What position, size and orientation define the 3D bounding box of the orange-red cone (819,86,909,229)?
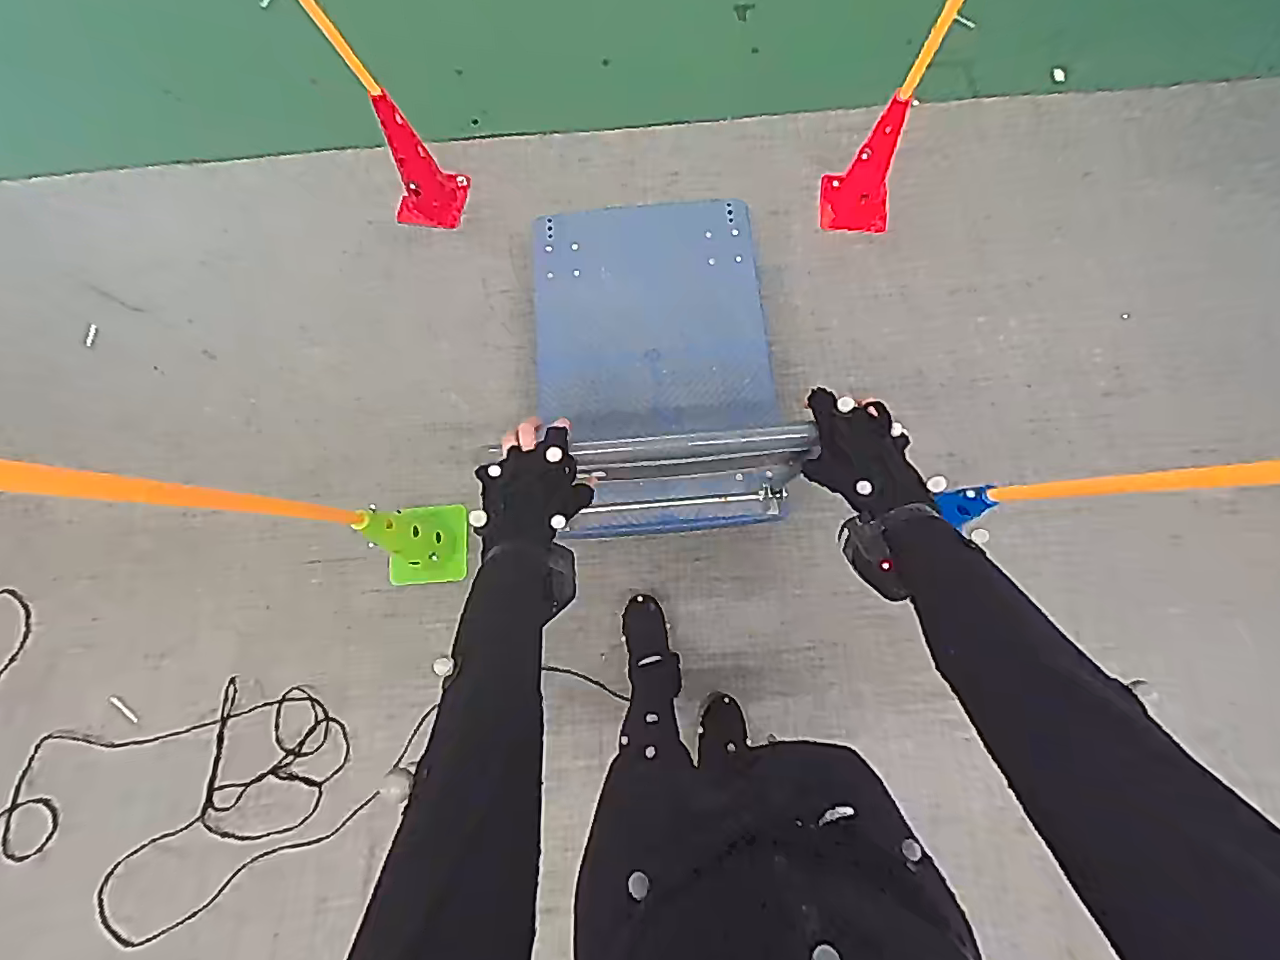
[{"bbox_3d":[0.634,-0.882,1.457,0.198,0.360,0.199,7,77,5],"label":"orange-red cone"}]
